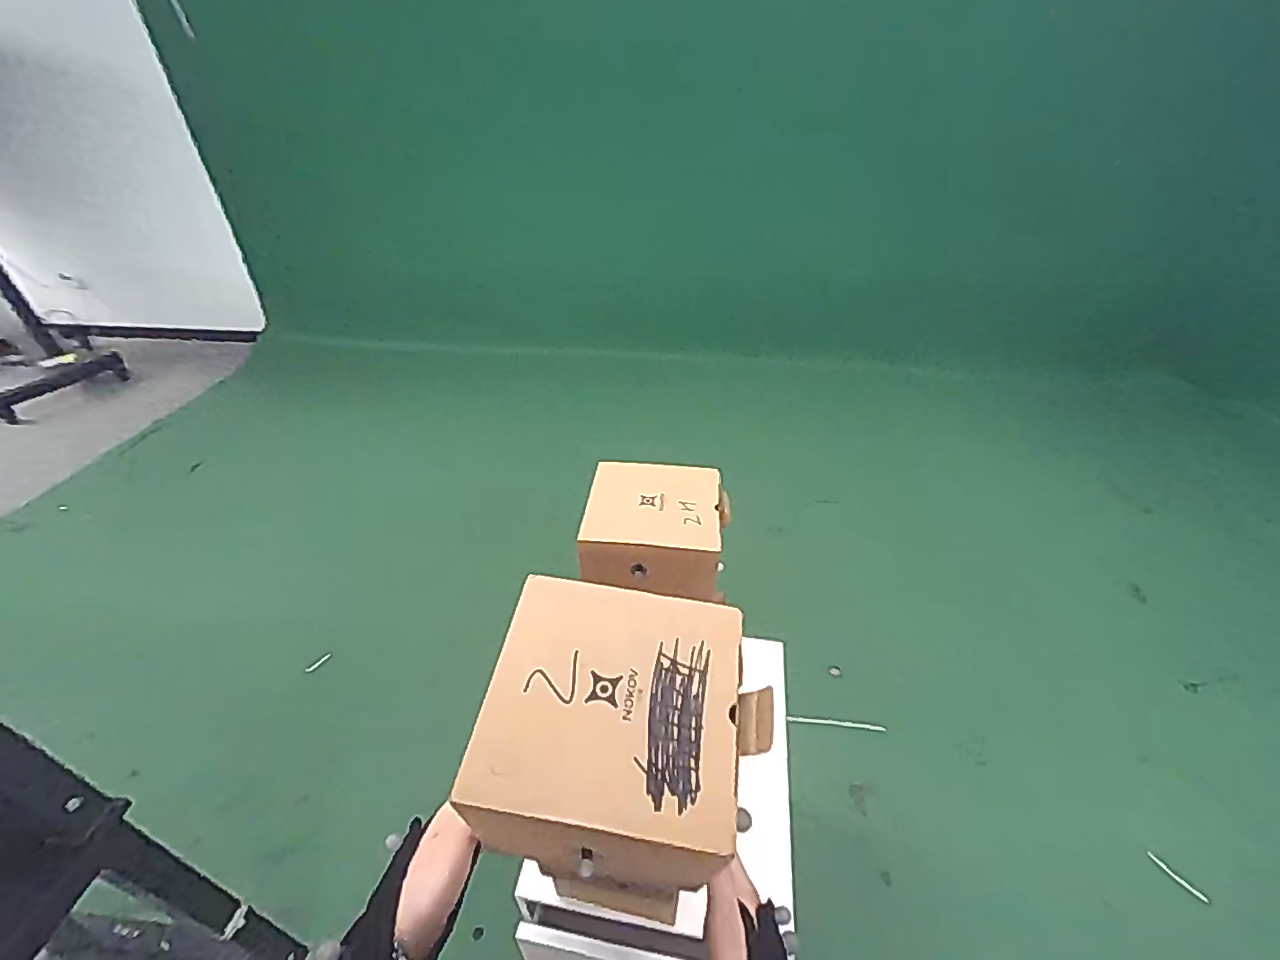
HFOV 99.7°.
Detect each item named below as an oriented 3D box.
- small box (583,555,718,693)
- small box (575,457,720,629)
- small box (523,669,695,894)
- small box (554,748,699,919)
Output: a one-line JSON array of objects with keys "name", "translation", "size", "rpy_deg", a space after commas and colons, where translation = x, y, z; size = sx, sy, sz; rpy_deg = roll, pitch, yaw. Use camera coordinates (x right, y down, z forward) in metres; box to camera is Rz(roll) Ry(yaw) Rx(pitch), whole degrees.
[{"name": "small box", "translation": [0.020, 0.215, 0.852], "size": [0.179, 0.176, 0.168], "rpy_deg": [9, 38, 10]}, {"name": "small box", "translation": [0.015, 0.087, 0.747], "size": [0.179, 0.176, 0.168], "rpy_deg": [5, 38, 4]}, {"name": "small box", "translation": [-0.027, 0.363, 0.655], "size": [0.168, 0.176, 0.179], "rpy_deg": [7, 37, 7]}, {"name": "small box", "translation": [-0.019, 0.483, 0.766], "size": [0.179, 0.176, 0.168], "rpy_deg": [9, 38, 10]}]
